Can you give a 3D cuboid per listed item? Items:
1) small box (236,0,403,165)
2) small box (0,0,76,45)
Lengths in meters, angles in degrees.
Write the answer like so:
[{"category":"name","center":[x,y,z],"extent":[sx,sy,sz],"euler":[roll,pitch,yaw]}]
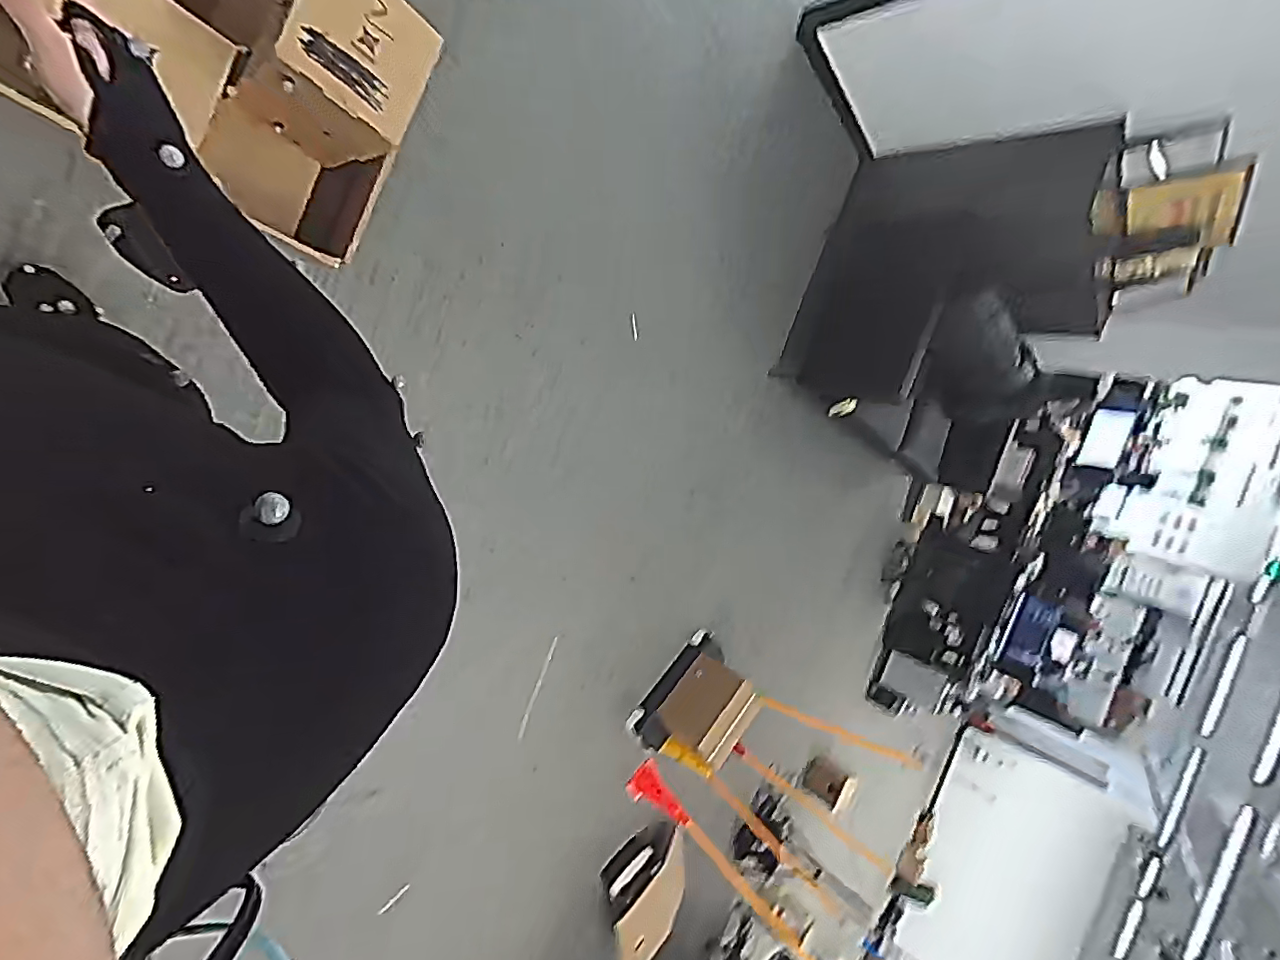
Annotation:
[{"category":"small box","center":[-0.530,-0.656,0.890],"extent":[0.168,0.176,0.179],"euler":[25,89,-48]},{"category":"small box","center":[-0.535,-0.414,0.355],"extent":[0.179,0.176,0.168],"euler":[-25,127,-47]}]
